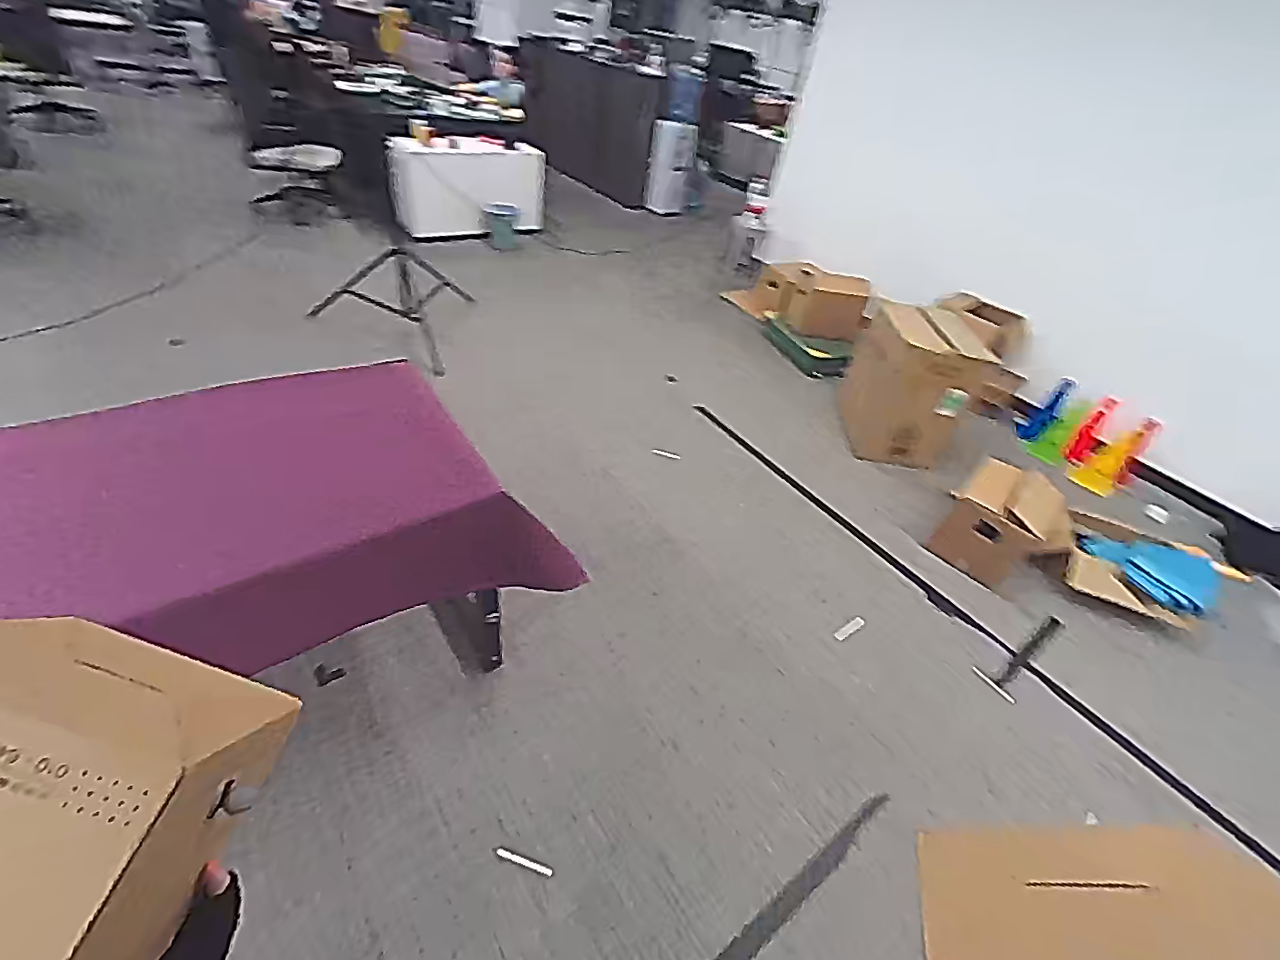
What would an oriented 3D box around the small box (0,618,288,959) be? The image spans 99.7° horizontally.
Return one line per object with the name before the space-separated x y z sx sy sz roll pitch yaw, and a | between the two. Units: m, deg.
small box | -0.327 0.178 0.275 0.168 0.179 0.176 25 72 -9
